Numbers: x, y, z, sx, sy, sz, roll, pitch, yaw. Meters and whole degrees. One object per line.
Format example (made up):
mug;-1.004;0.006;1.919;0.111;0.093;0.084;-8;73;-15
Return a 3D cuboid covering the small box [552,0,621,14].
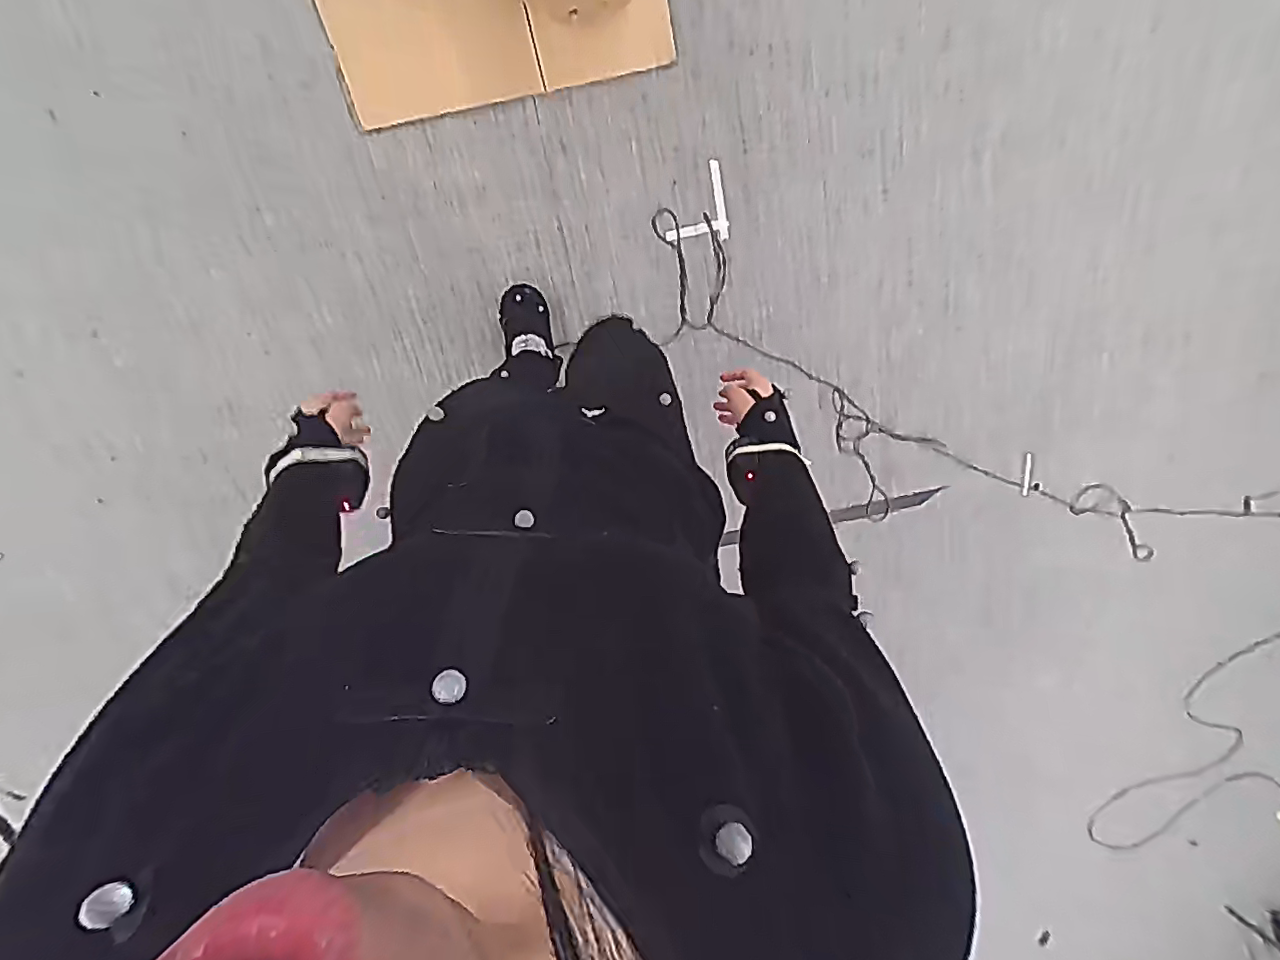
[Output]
small box;-0.106;-1.022;1.015;0.168;0.176;0.179;-18;112;-1
